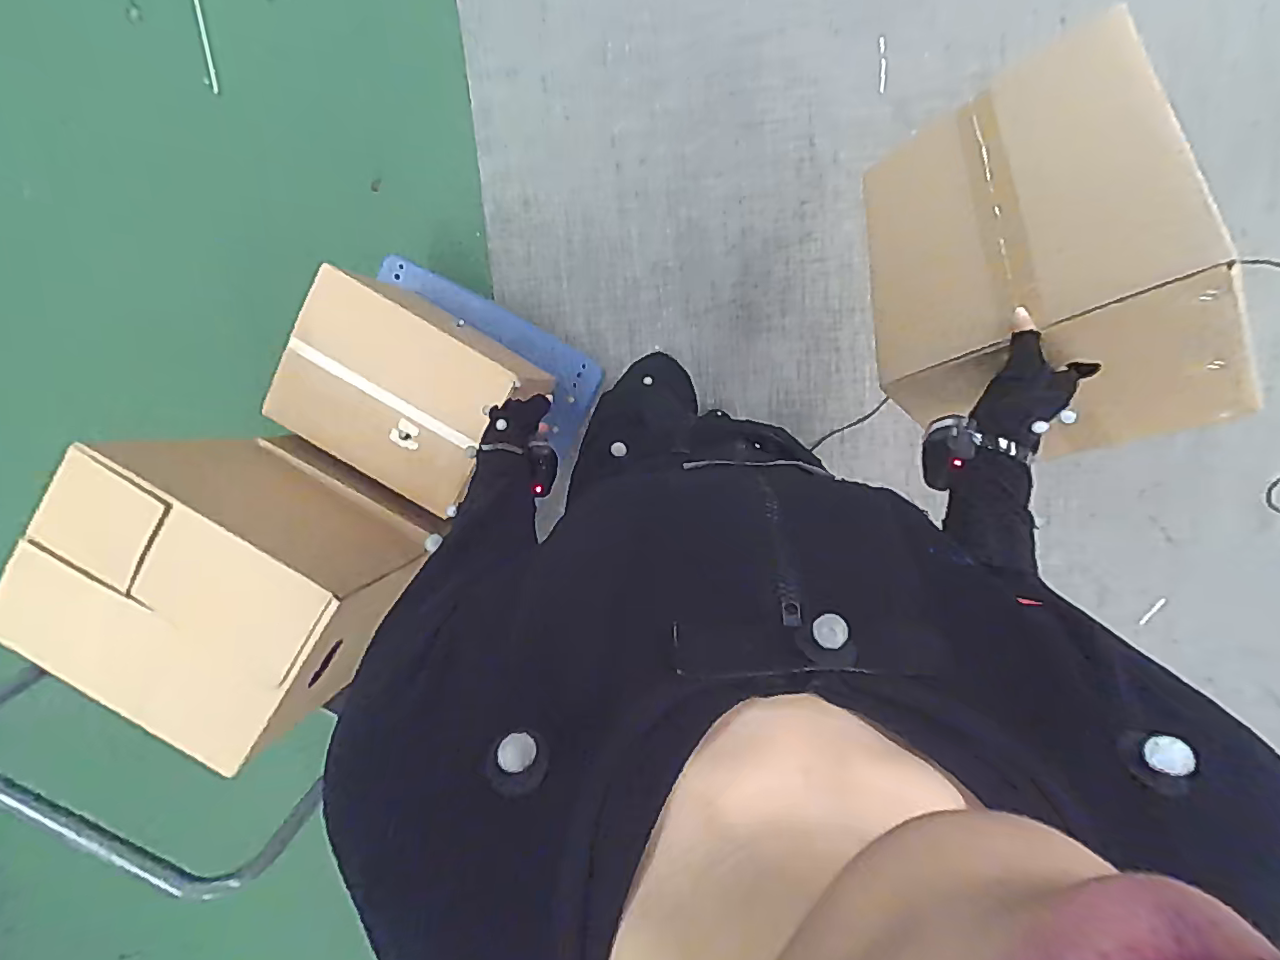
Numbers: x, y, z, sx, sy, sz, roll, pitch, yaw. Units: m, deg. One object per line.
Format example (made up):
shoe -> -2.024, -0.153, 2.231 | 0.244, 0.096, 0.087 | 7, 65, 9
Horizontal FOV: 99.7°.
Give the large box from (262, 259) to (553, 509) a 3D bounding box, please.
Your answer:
large box -> -0.454, -0.195, 1.134 | 0.408, 0.320, 0.320 | 30, 102, -2
